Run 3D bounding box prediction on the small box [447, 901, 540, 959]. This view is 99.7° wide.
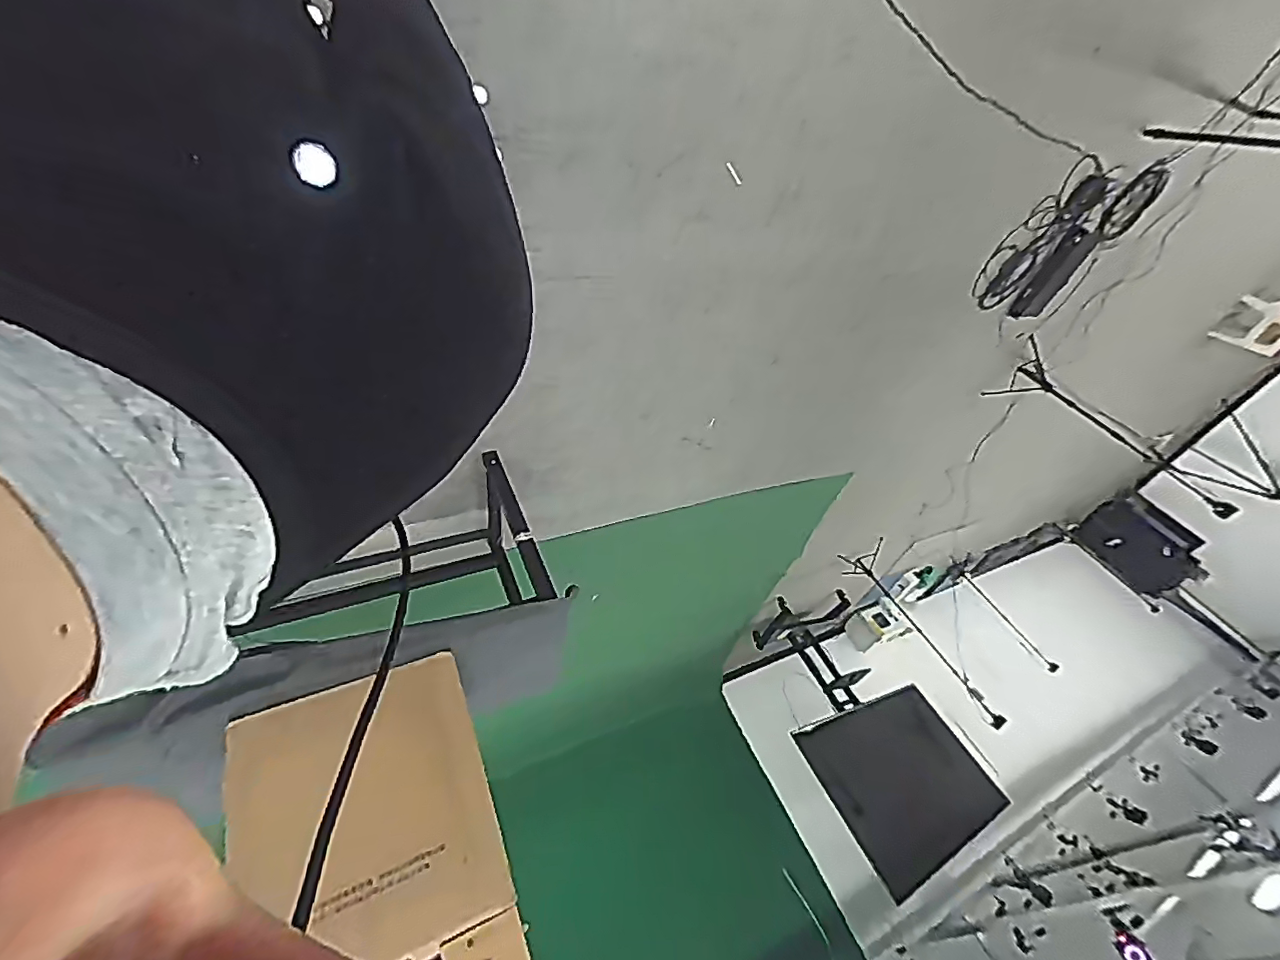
[{"bbox_3d":[-0.309,1.051,1.167,0.168,0.176,0.179,-14,141,-26],"label":"small box"}]
